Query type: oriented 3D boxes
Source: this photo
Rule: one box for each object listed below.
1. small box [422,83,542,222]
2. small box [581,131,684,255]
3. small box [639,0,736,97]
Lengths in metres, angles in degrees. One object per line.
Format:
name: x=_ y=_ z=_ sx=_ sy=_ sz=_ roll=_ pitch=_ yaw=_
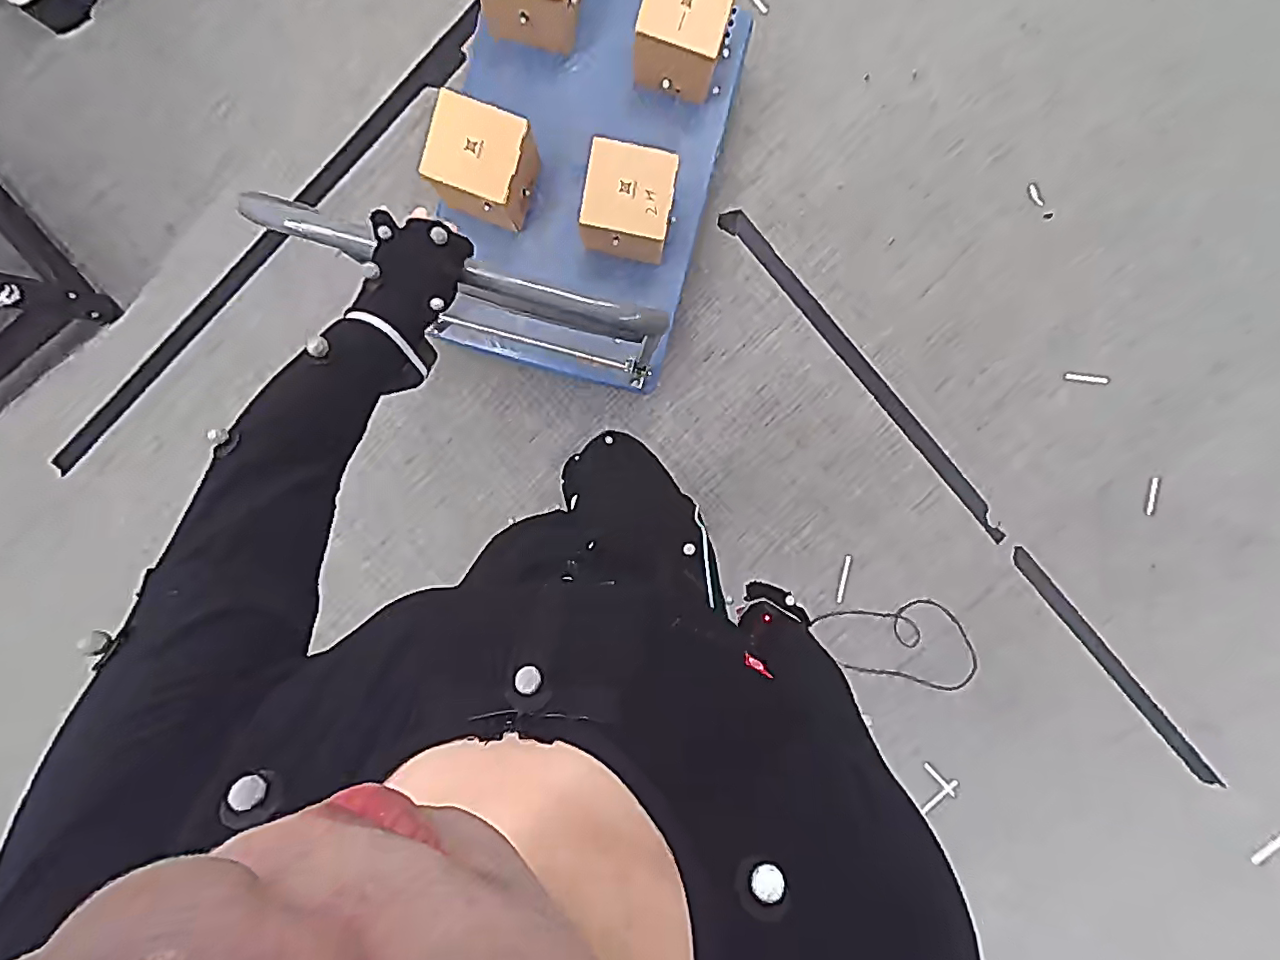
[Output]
small box: x=-0.317 y=-0.660 z=1.115 sx=0.179 sy=0.176 sz=0.168 roll=18 pitch=96 yaw=-5
small box: x=-0.016 y=-0.588 z=1.132 sx=0.179 sy=0.176 sz=0.168 roll=11 pitch=97 yaw=-3
small box: x=0.096 y=-0.931 z=1.090 sx=0.168 sy=0.176 sz=0.179 roll=17 pitch=98 yaw=-4
